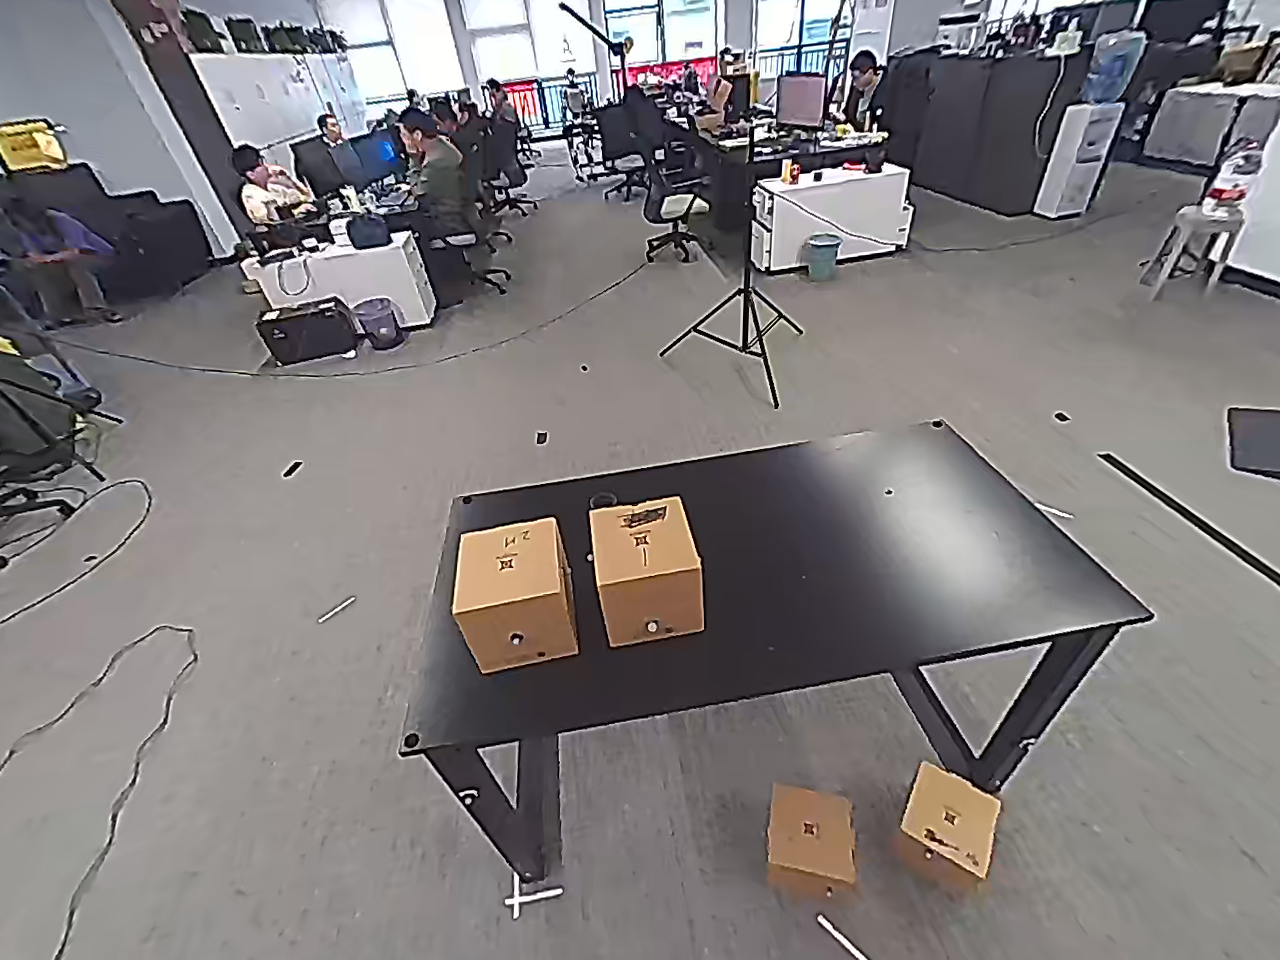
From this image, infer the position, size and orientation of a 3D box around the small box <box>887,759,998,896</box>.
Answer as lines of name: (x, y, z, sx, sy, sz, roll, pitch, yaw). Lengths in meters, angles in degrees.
small box: (0.679, 0.785, 1.226, 0.168, 0.176, 0.179, 20, 47, 30)

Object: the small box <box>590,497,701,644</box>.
small box: (0.008, 0.157, 0.946, 0.168, 0.176, 0.179, -10, 40, -2)

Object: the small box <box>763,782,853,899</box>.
small box: (0.378, 0.823, 1.232, 0.179, 0.176, 0.168, 3, 40, 14)
